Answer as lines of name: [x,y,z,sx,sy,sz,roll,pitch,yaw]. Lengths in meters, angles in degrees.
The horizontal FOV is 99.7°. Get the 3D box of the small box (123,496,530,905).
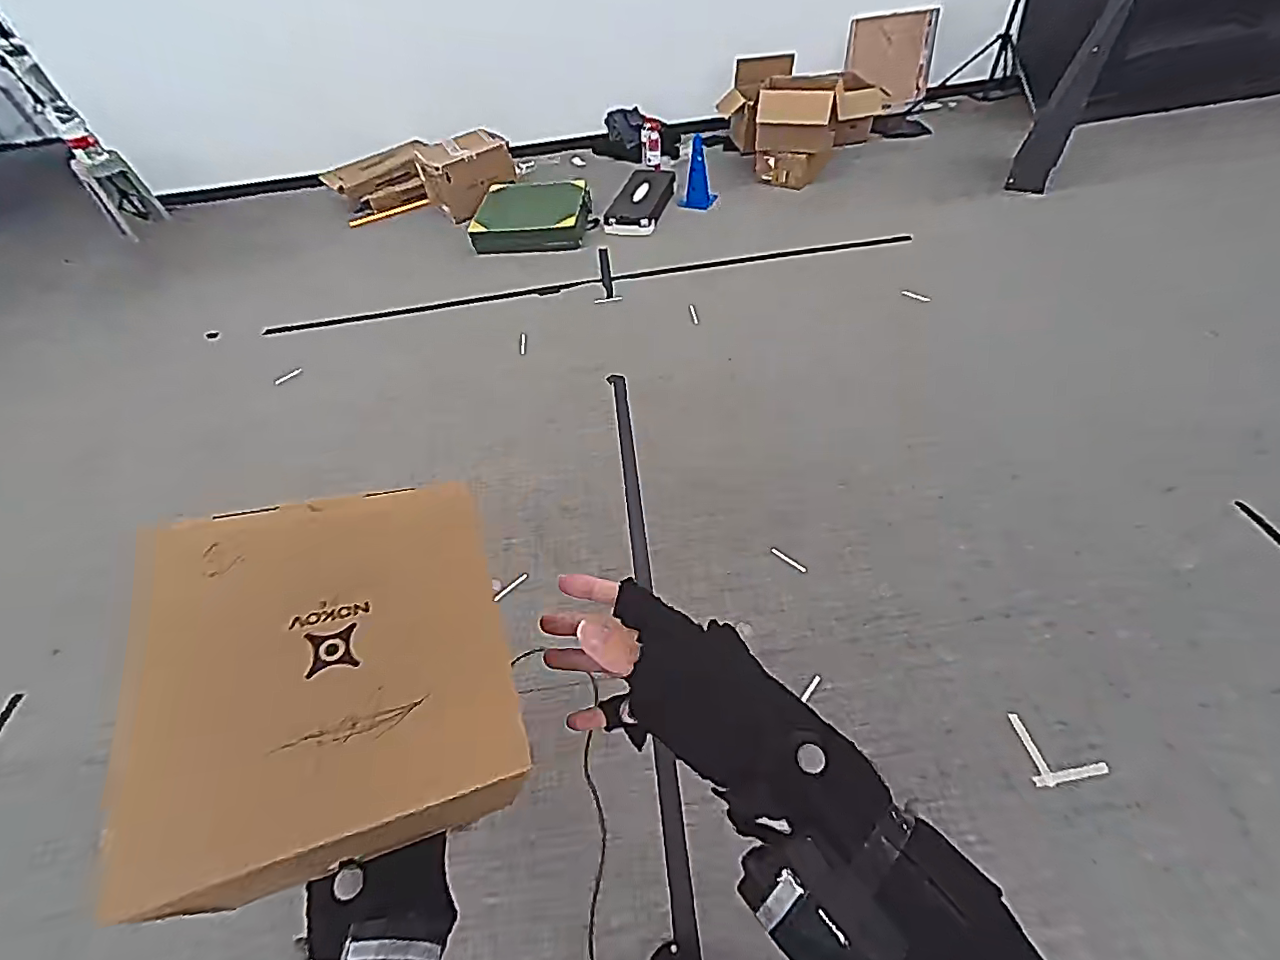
small box: [-0.177,0.137,0.347,0.168,0.176,0.179,-9,58,-23]
